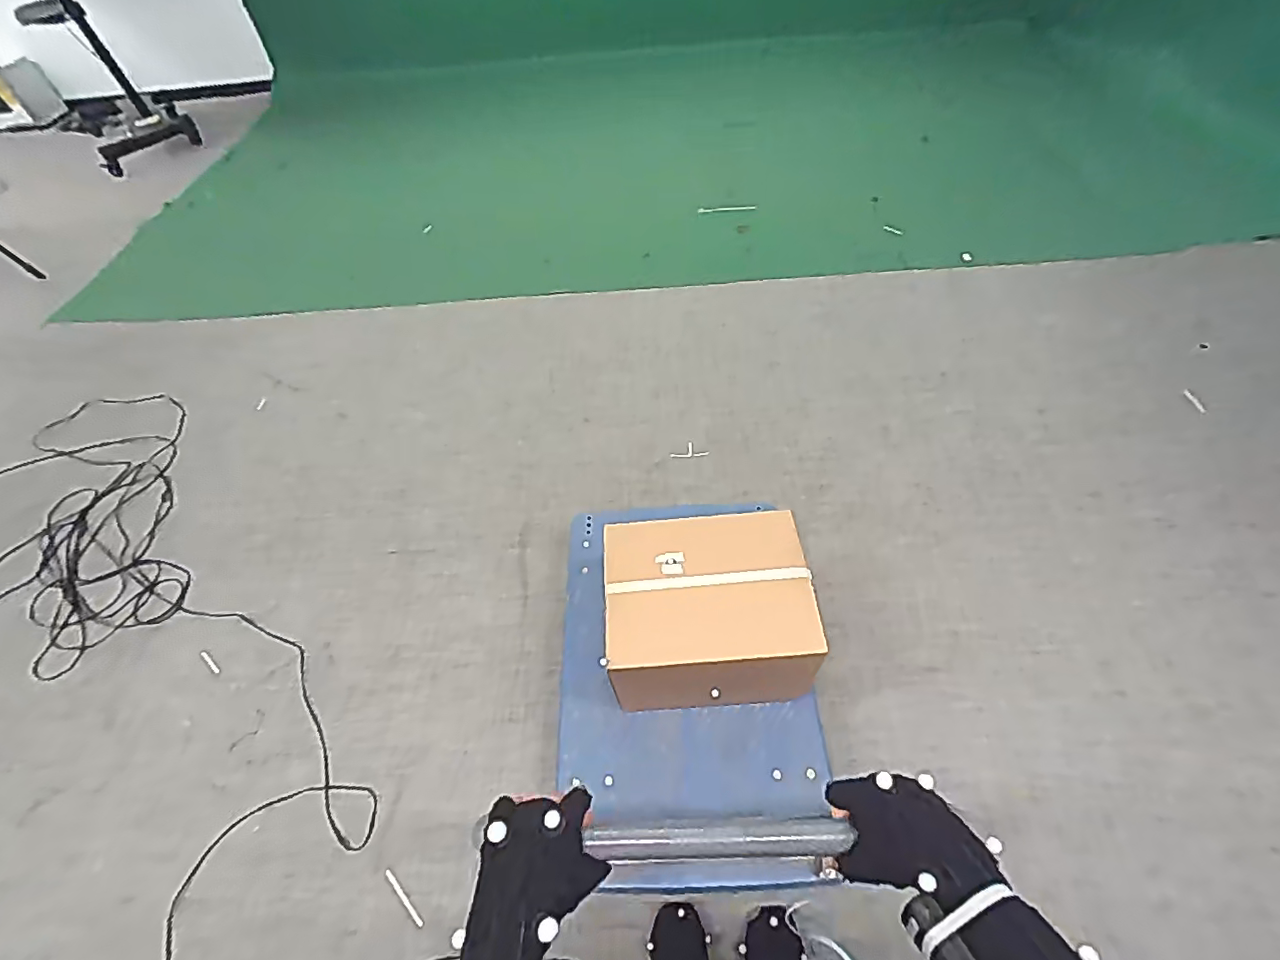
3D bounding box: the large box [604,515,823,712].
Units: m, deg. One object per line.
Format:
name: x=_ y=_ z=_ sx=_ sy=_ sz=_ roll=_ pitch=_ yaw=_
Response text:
large box: x=0.145 y=0.305 z=1.198 sx=0.408 sy=0.320 sz=0.320 roll=-6 pitch=52 yaw=3
